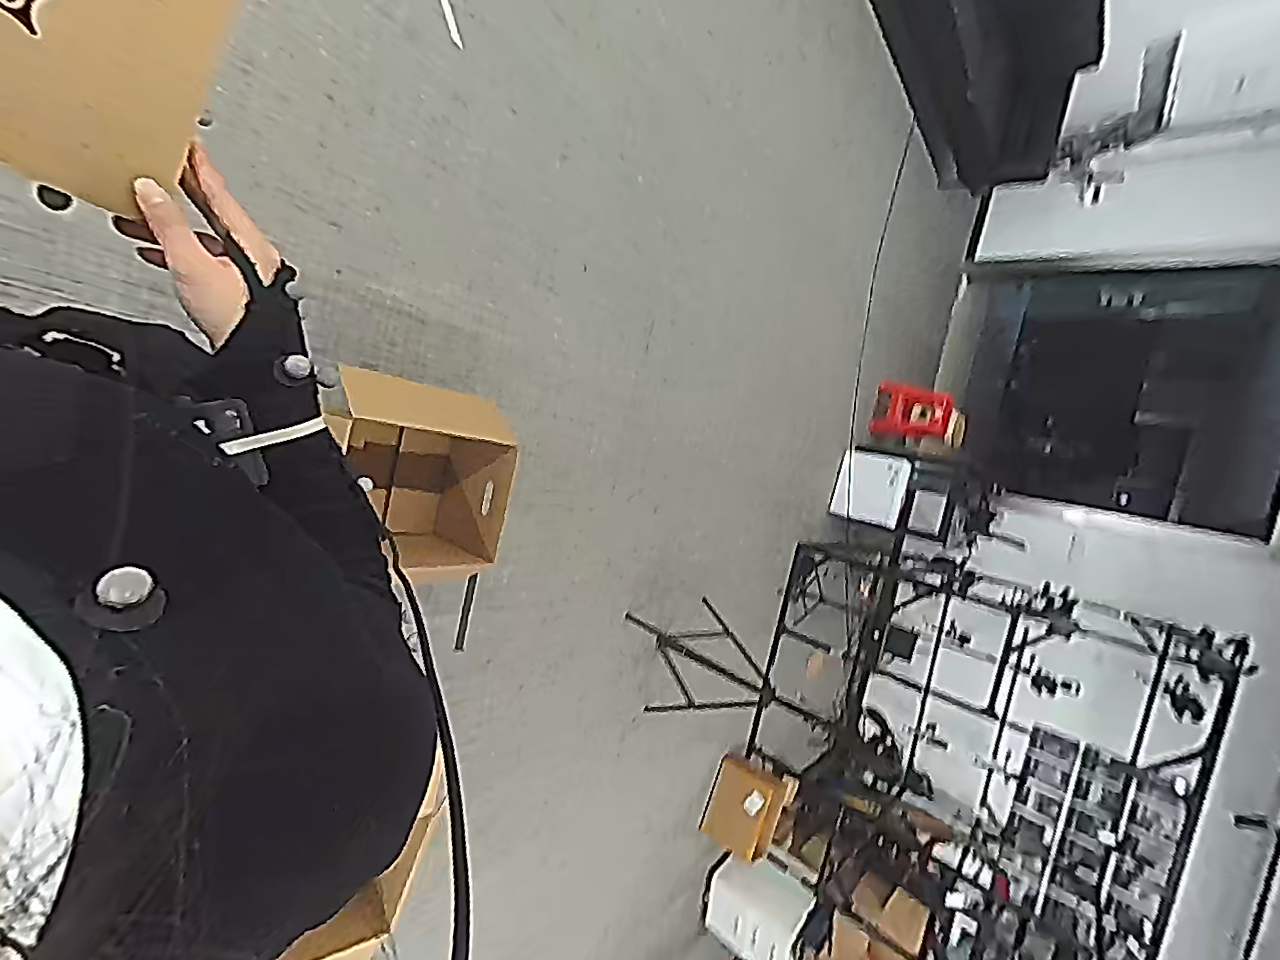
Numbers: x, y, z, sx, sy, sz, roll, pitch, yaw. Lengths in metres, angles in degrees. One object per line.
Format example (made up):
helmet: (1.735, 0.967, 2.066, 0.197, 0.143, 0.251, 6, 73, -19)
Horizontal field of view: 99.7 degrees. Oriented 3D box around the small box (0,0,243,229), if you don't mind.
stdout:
small box: (-0.370, -0.281, 0.309, 0.179, 0.176, 0.168, 16, 106, -51)
